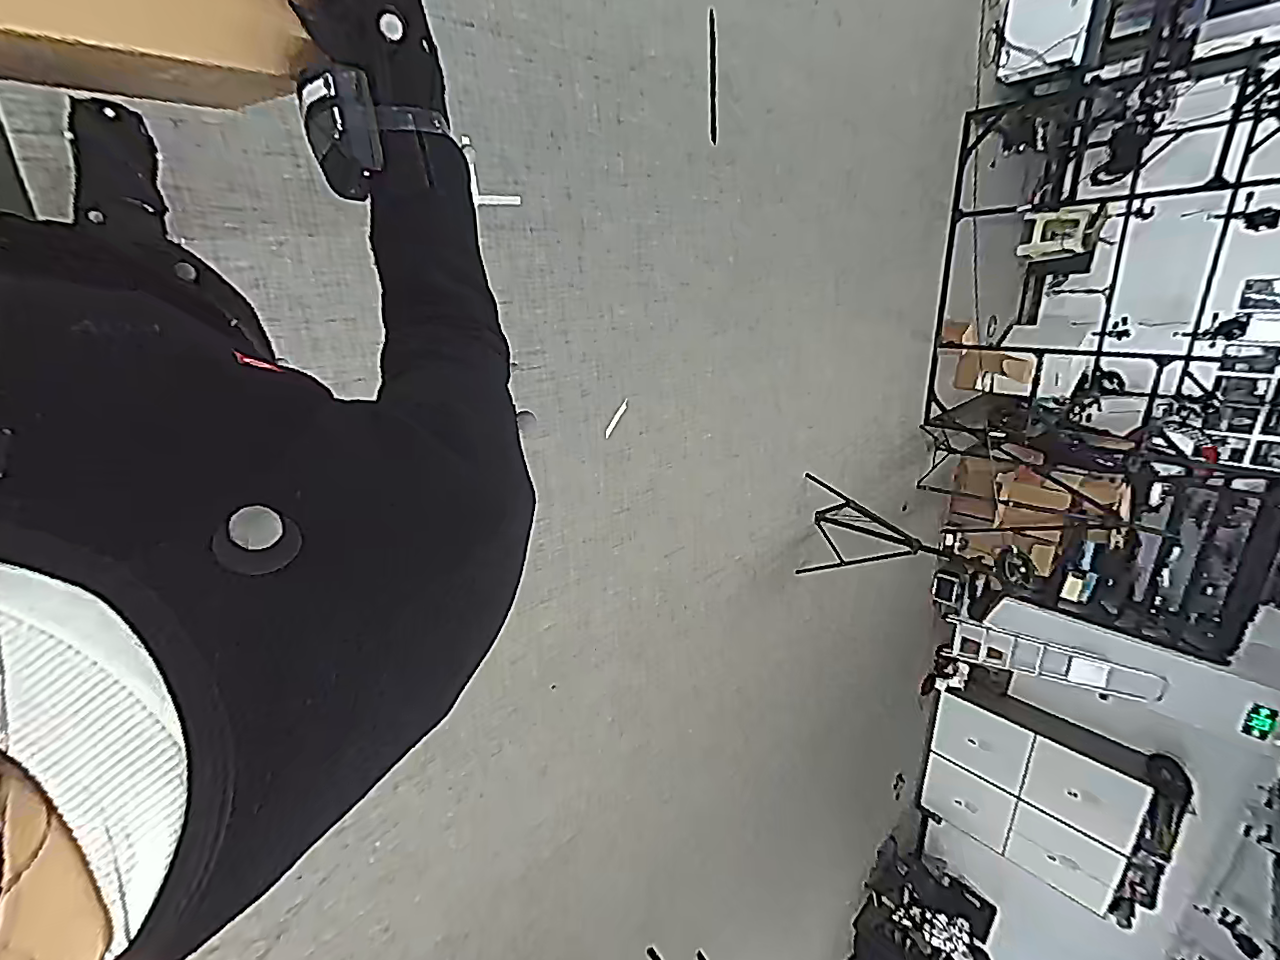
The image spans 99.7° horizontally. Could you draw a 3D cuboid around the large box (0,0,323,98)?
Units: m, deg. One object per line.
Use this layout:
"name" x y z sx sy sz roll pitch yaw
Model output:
"large box" -0.450 -0.408 0.263 0.408 0.320 0.320 -21 128 -39
